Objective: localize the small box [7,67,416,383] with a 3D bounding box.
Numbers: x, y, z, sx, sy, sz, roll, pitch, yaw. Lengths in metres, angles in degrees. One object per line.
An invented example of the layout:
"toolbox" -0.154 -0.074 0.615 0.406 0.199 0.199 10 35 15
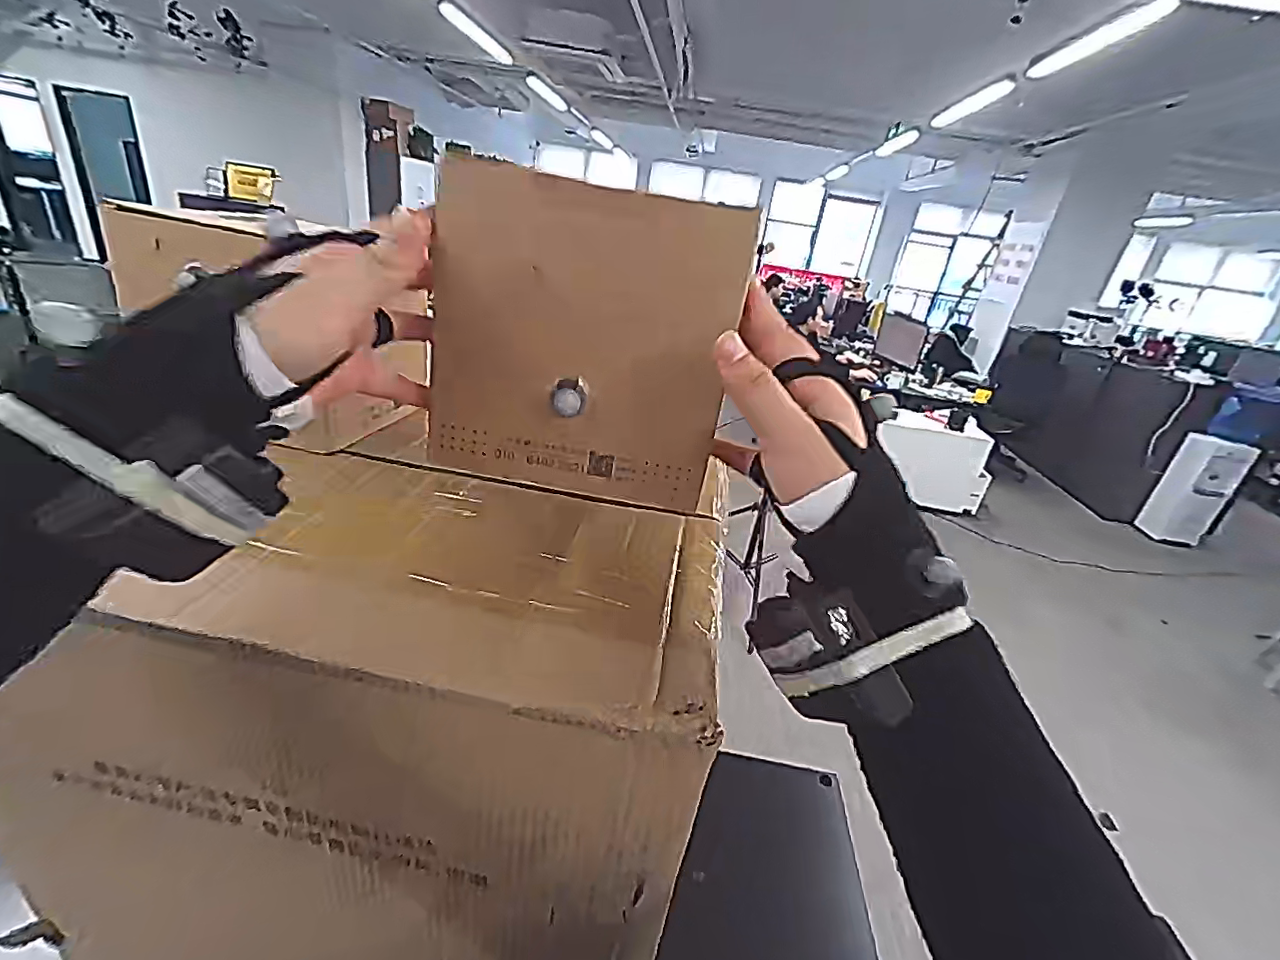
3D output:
"small box" -0.296 -0.181 0.418 0.179 0.176 0.168 12 24 3

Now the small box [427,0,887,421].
"small box" -0.002 -0.143 0.285 0.168 0.176 0.179 10 23 0
